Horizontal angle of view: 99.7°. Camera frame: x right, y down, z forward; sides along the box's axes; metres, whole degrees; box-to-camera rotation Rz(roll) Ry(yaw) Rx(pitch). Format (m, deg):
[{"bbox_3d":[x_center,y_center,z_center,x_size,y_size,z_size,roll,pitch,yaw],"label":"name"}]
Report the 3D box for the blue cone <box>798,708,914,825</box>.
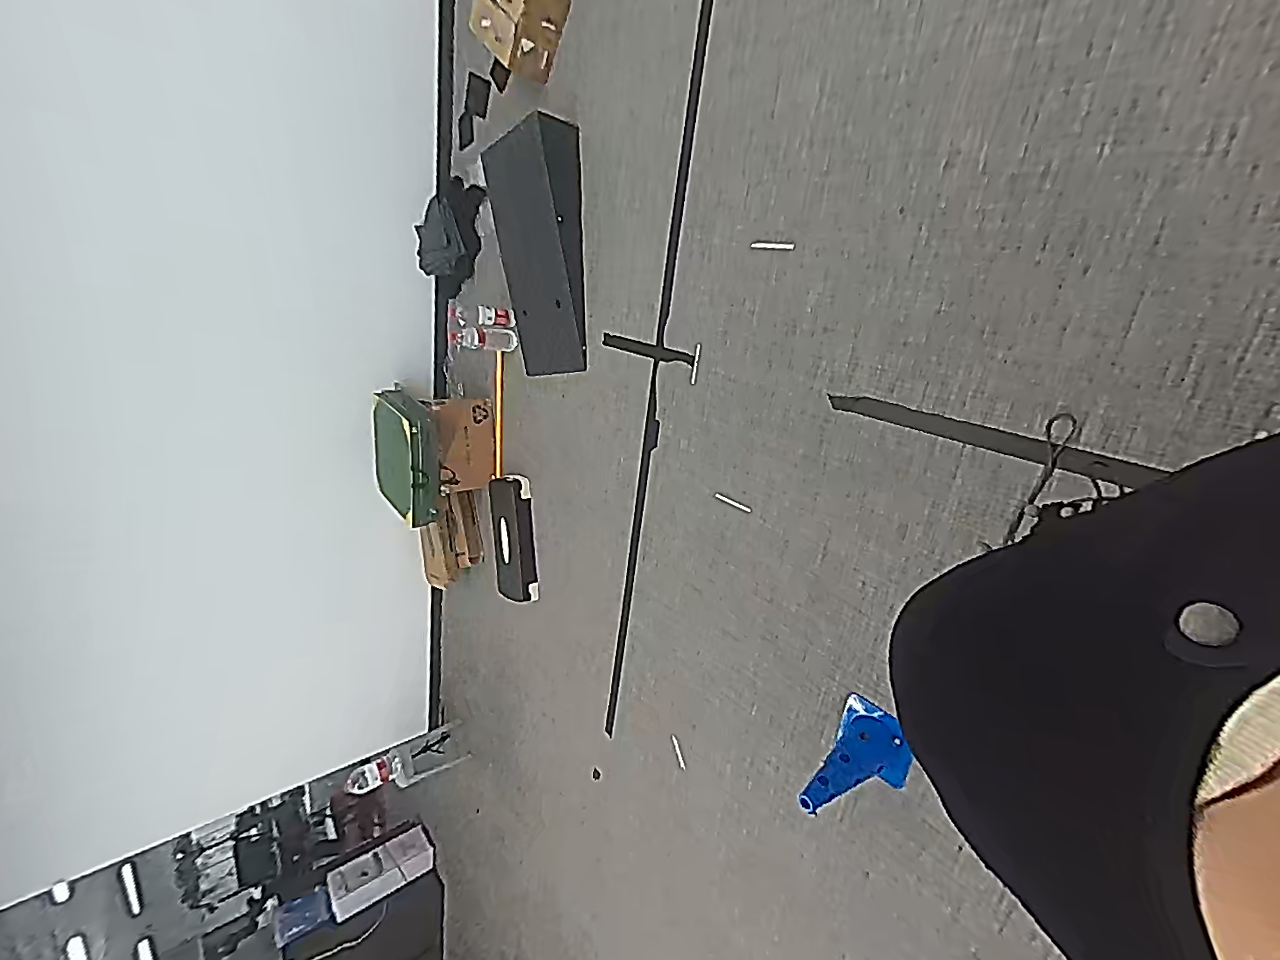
[{"bbox_3d":[0.529,0.768,1.396,0.193,0.380,0.192,28,118,43],"label":"blue cone"}]
